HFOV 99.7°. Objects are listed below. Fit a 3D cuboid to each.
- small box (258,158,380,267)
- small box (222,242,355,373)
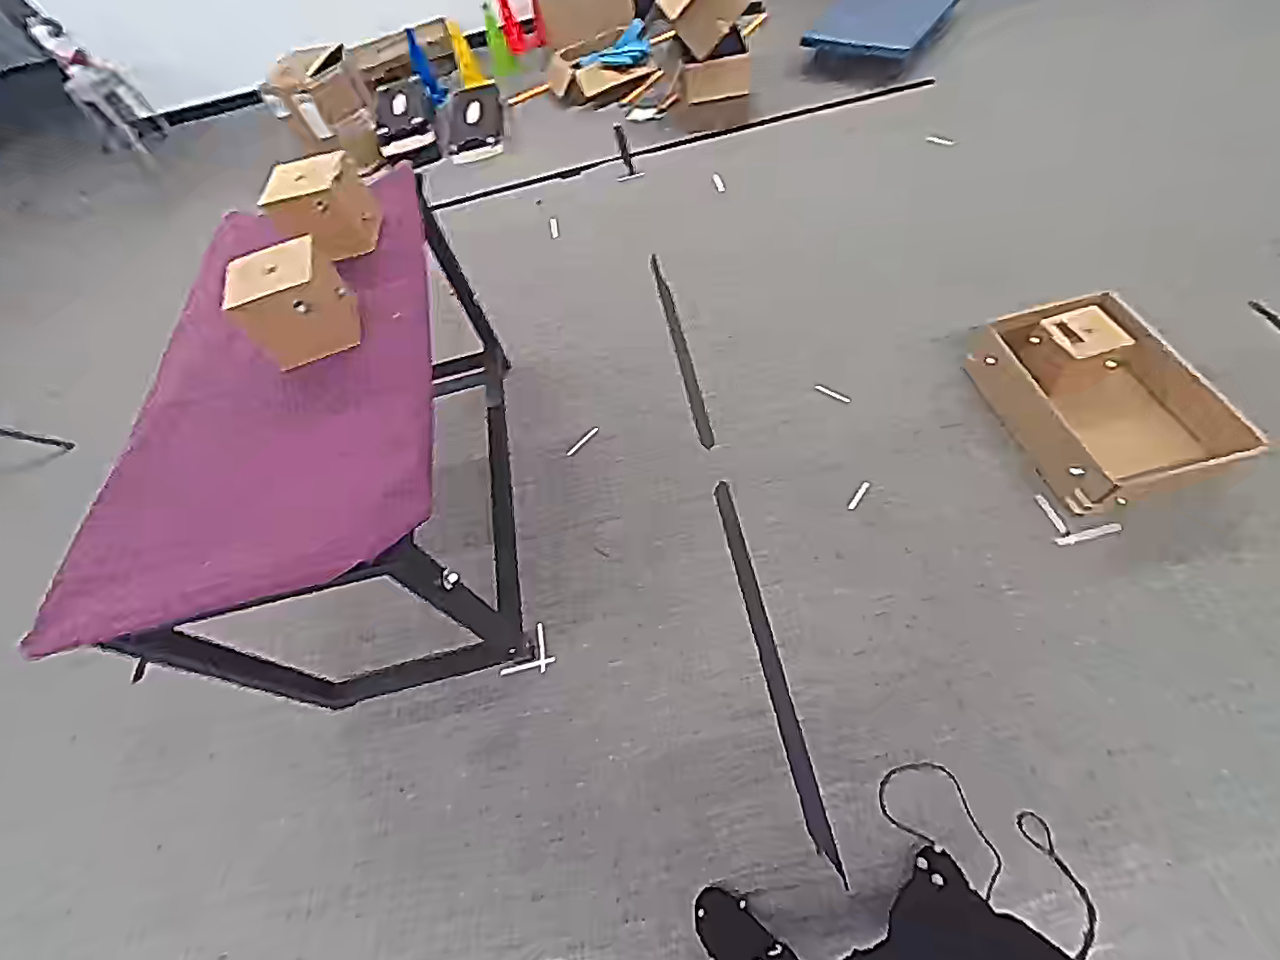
[{"bbox_3d":[-0.772,-0.643,1.319,0.179,0.176,0.168,-11,58,5],"label":"small box"},{"bbox_3d":[-0.721,-0.357,1.132,0.179,0.176,0.168,-21,57,-3],"label":"small box"}]
